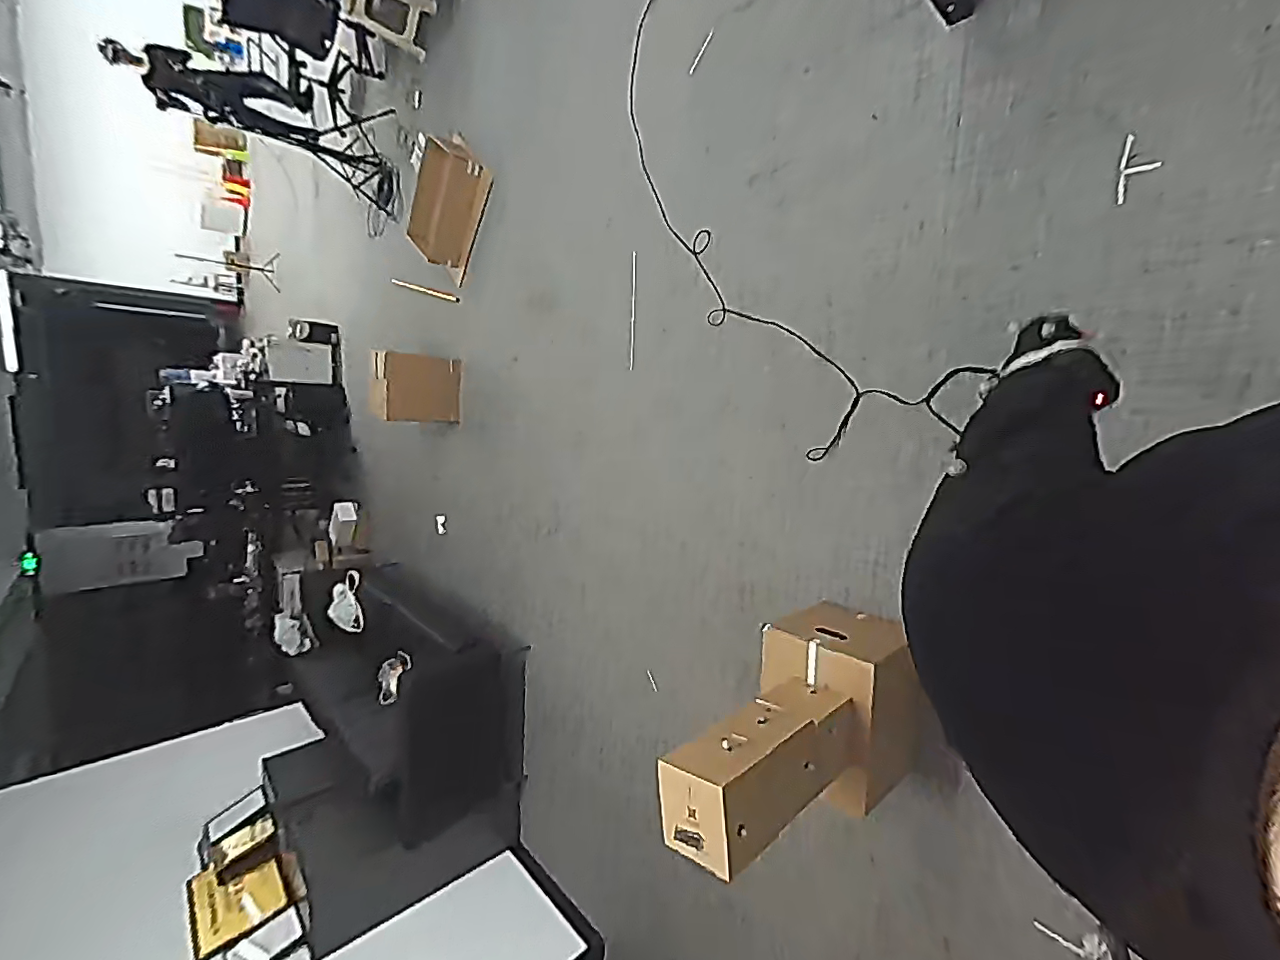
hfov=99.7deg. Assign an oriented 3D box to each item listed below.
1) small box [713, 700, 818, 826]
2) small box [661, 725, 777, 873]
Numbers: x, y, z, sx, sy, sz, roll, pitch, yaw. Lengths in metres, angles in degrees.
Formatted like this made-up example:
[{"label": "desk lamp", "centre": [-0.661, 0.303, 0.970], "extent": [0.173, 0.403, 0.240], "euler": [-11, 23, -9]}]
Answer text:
[{"label": "small box", "centre": [0.283, 0.619, 1.212], "extent": [0.168, 0.176, 0.179], "euler": [-3, 91, 46]}, {"label": "small box", "centre": [0.164, 0.632, 1.098], "extent": [0.168, 0.176, 0.179], "euler": [-4, 90, 46]}]
